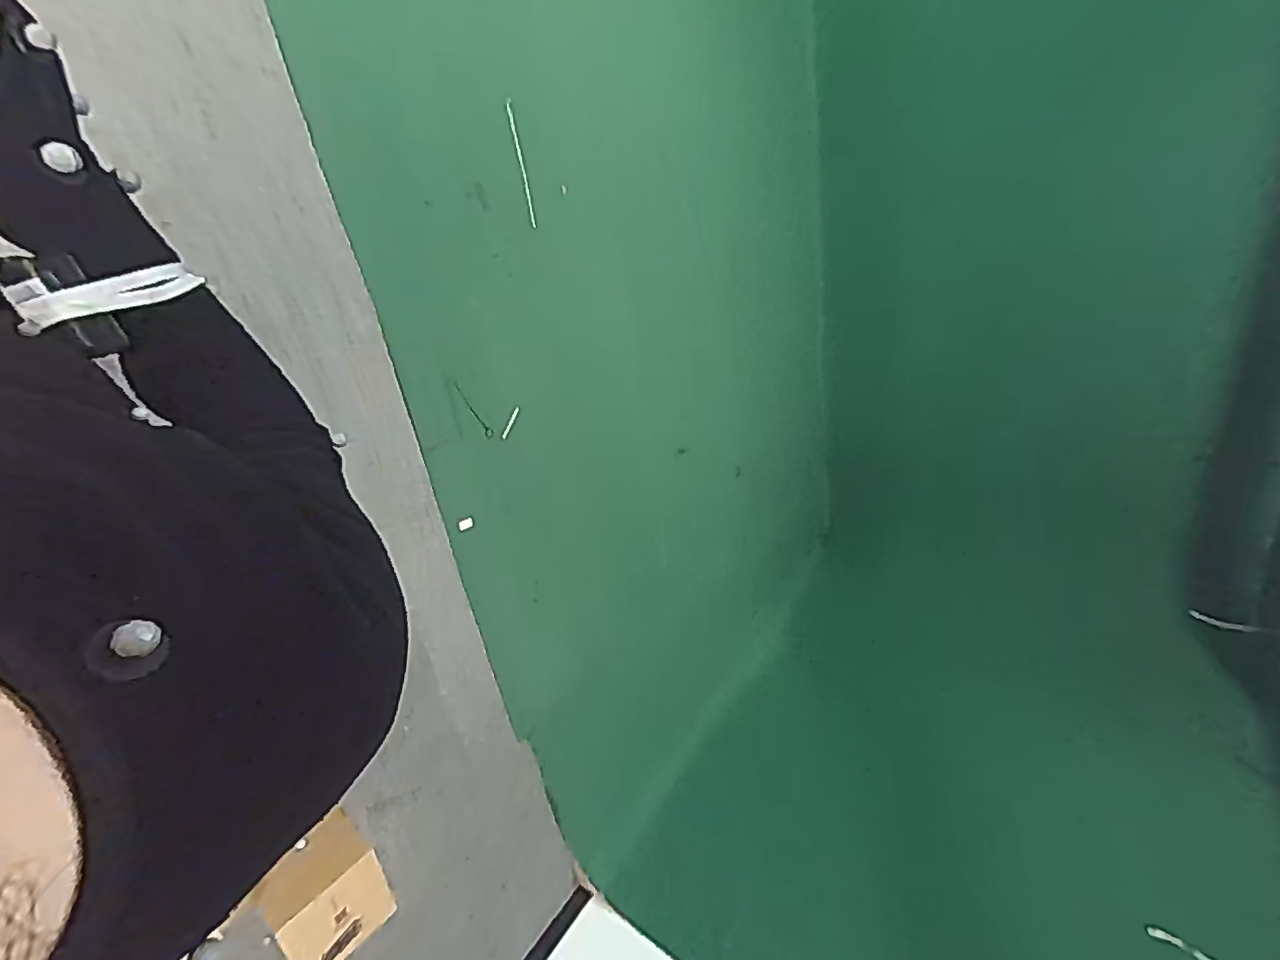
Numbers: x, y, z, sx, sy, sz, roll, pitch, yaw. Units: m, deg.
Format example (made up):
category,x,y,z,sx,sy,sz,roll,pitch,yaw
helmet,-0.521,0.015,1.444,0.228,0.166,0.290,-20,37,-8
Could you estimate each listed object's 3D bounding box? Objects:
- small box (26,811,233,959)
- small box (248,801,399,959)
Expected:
category,x,y,z,sx,sy,sz,roll,pitch,yaw
small box,-0.735,0.634,0.784,0.168,0.176,0.179,-27,118,-45
small box,-0.584,0.747,1.002,0.168,0.176,0.179,-30,122,-46
